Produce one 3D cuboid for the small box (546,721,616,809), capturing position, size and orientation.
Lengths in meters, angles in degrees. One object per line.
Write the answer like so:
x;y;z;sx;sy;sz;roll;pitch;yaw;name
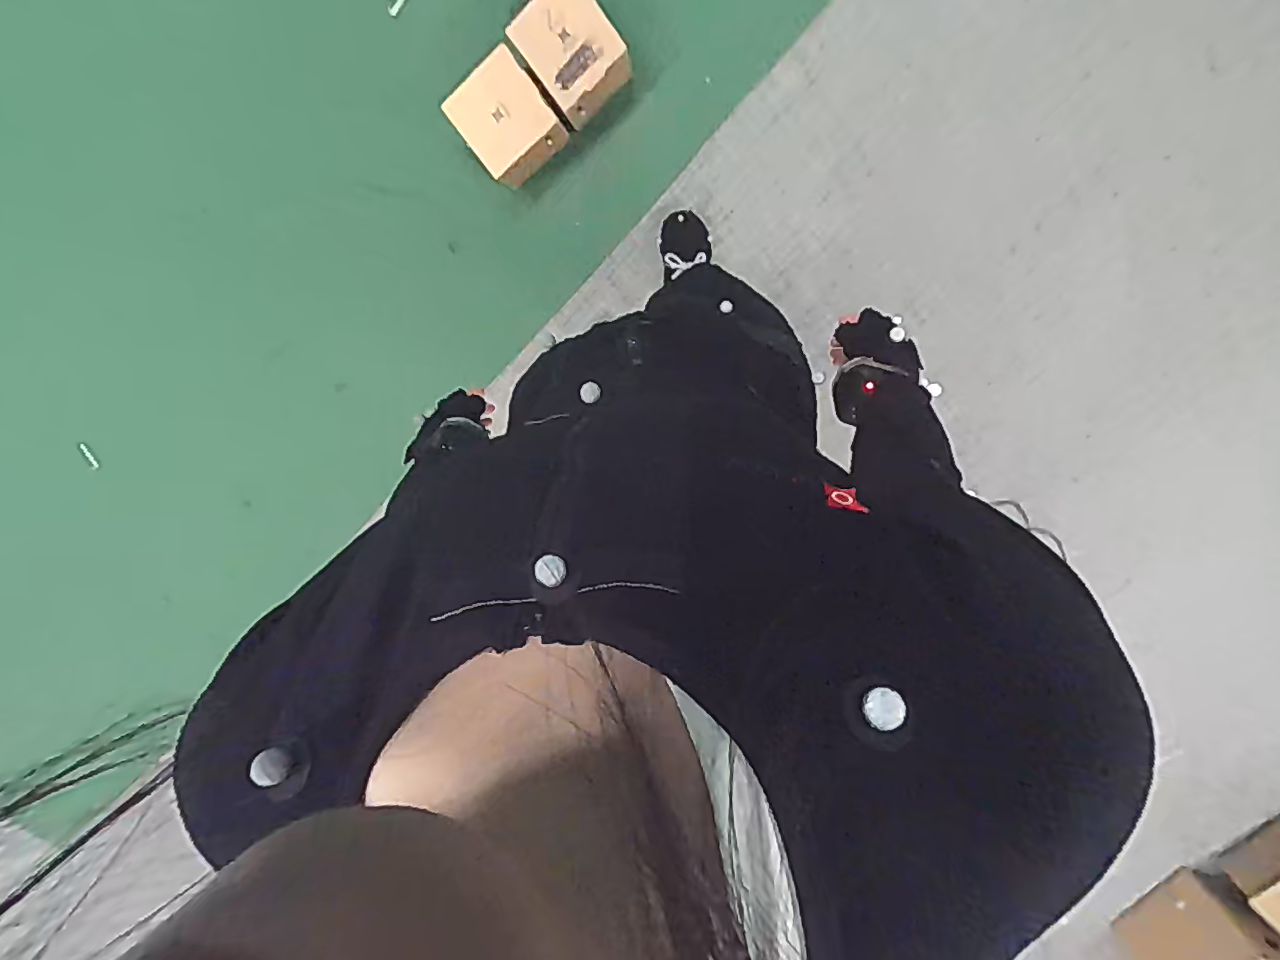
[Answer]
-0.193;0.953;1.821;0.168;0.176;0.179;35;109;-12;small box
